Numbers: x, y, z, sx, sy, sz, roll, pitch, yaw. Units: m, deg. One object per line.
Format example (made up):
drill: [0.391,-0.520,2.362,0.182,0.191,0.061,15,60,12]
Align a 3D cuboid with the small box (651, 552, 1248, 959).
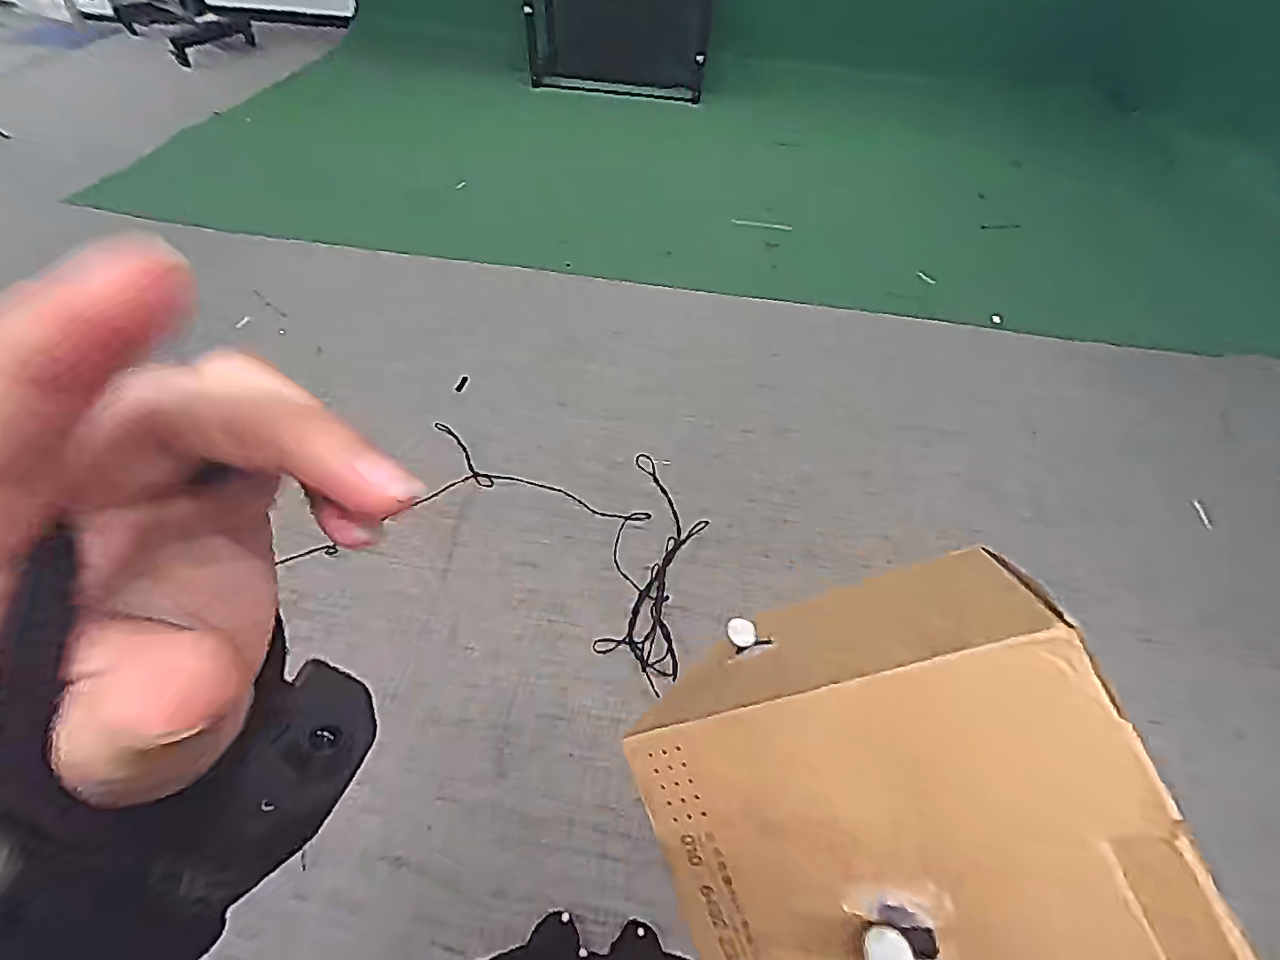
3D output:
small box: [0.124,0.150,0.252,0.176,0.179,0.168,-27,80,23]
